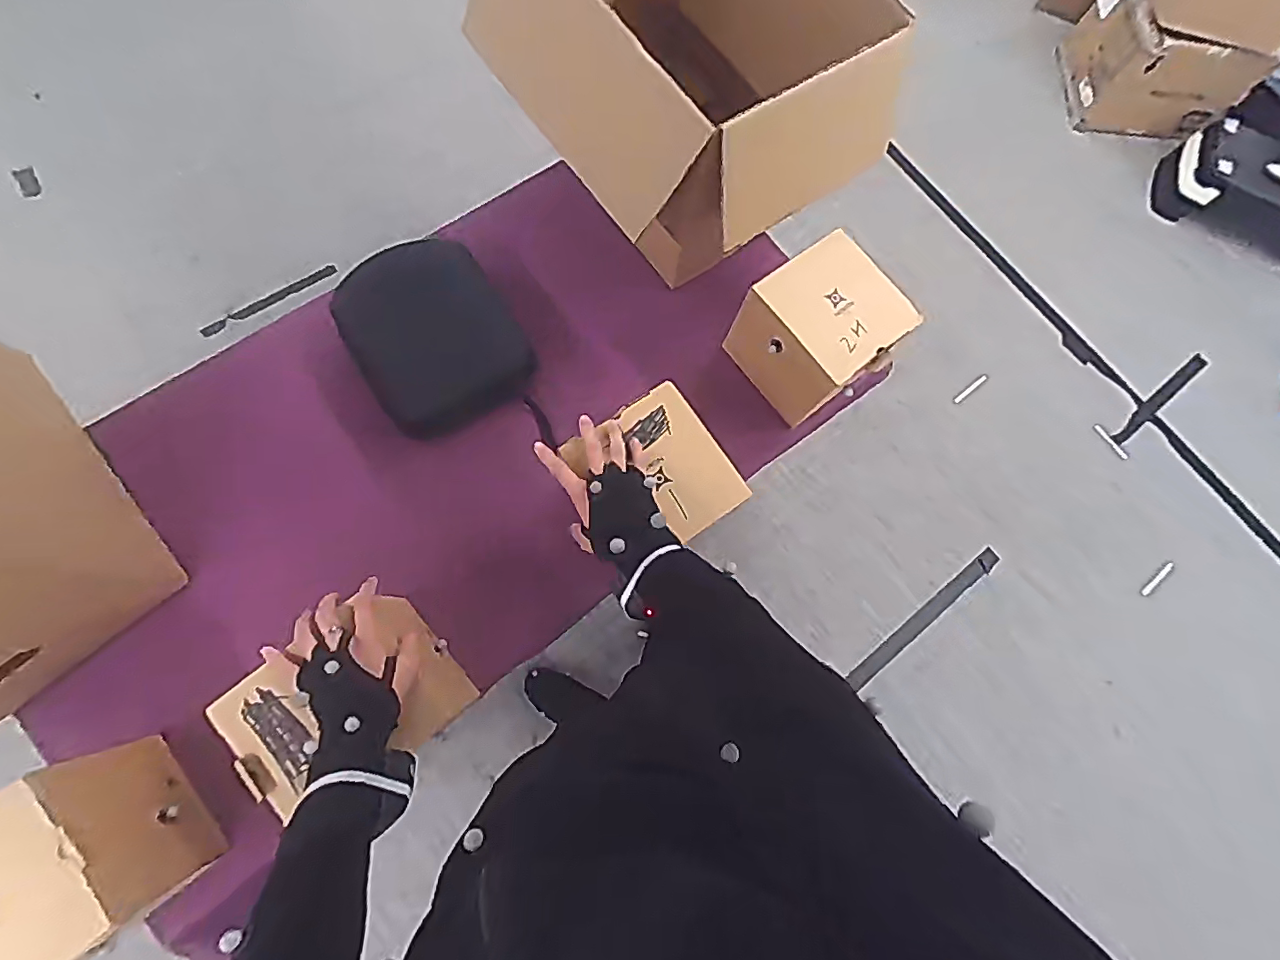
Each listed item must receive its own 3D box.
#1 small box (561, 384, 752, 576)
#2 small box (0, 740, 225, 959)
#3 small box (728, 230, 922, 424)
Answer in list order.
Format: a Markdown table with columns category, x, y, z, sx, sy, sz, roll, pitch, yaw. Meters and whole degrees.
| category | x | y | z | sx | sy | sz | roll | pitch | yaw |
| --- | --- | --- | --- | --- | --- | --- | --- | --- | --- |
| small box | 0.011 | 0.011 | 0.712 | 0.168 | 0.176 | 0.179 | -34 | 83 | -12 |
| small box | -0.591 | 0.404 | 0.553 | 0.179 | 0.176 | 0.168 | -38 | 83 | -14 |
| small box | 0.253 | -0.212 | 0.789 | 0.168 | 0.176 | 0.179 | -36 | 83 | -12 |
